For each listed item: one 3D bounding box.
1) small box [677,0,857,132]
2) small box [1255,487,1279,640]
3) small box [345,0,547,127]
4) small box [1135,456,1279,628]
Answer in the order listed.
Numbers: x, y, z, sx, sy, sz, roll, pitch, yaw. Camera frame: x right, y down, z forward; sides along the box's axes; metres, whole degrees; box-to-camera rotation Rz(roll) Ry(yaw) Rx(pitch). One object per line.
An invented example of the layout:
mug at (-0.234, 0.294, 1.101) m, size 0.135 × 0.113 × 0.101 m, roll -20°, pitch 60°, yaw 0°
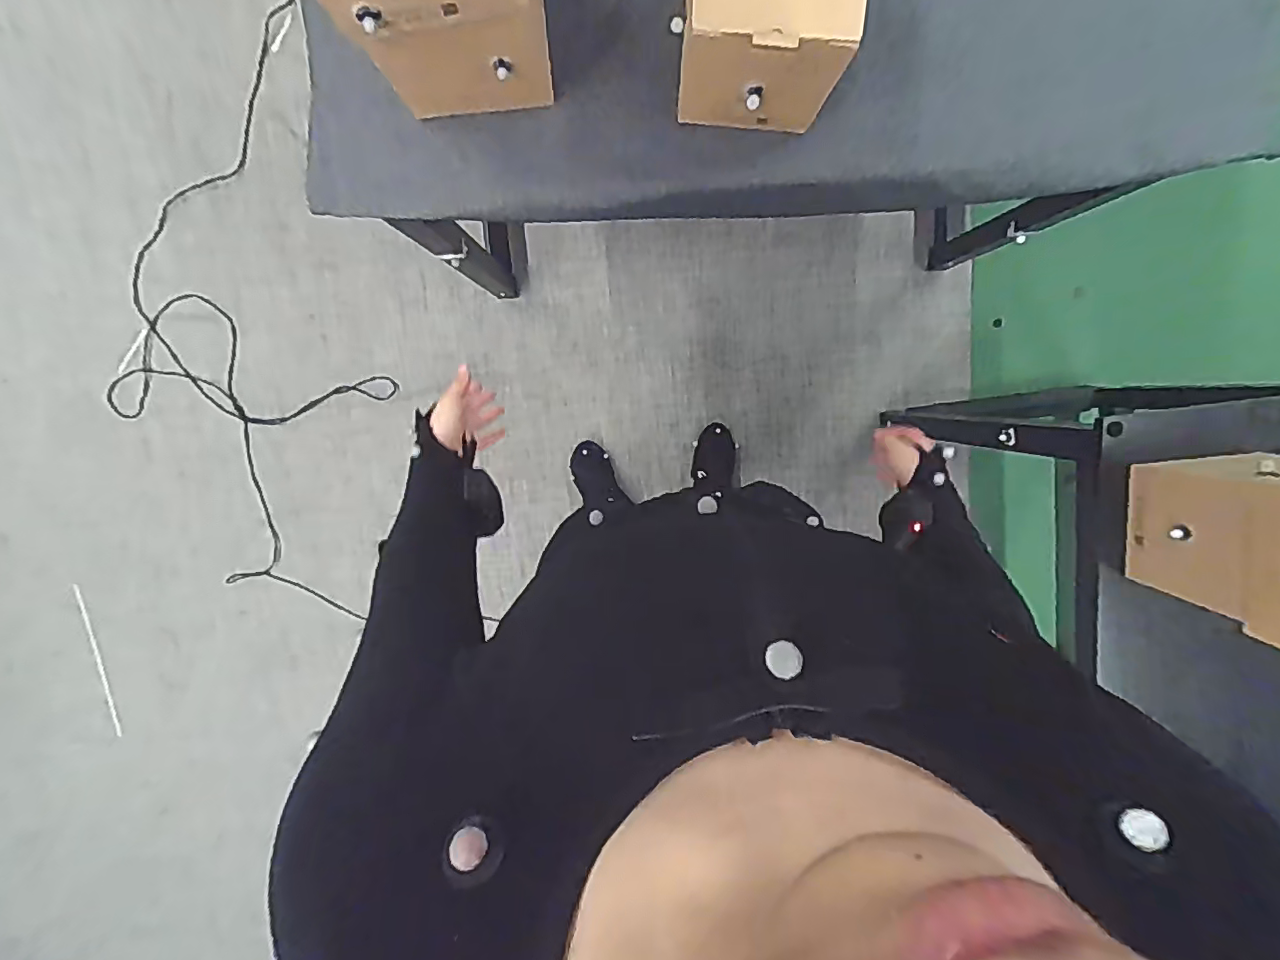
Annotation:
small box at (0.130, -0.508, 0.584) m, size 0.168 × 0.176 × 0.179 m, roll 4°, pitch 98°, yaw 0°
small box at (0.751, 0.099, 0.508) m, size 0.168 × 0.176 × 0.179 m, roll -6°, pitch 99°, yaw 2°
small box at (-0.203, -0.517, 0.586) m, size 0.179 × 0.176 × 0.168 m, roll -6°, pitch 96°, yaw 2°
small box at (0.768, 0.066, 0.667) m, size 0.179 × 0.176 × 0.168 m, roll -6°, pitch 100°, yaw 1°
